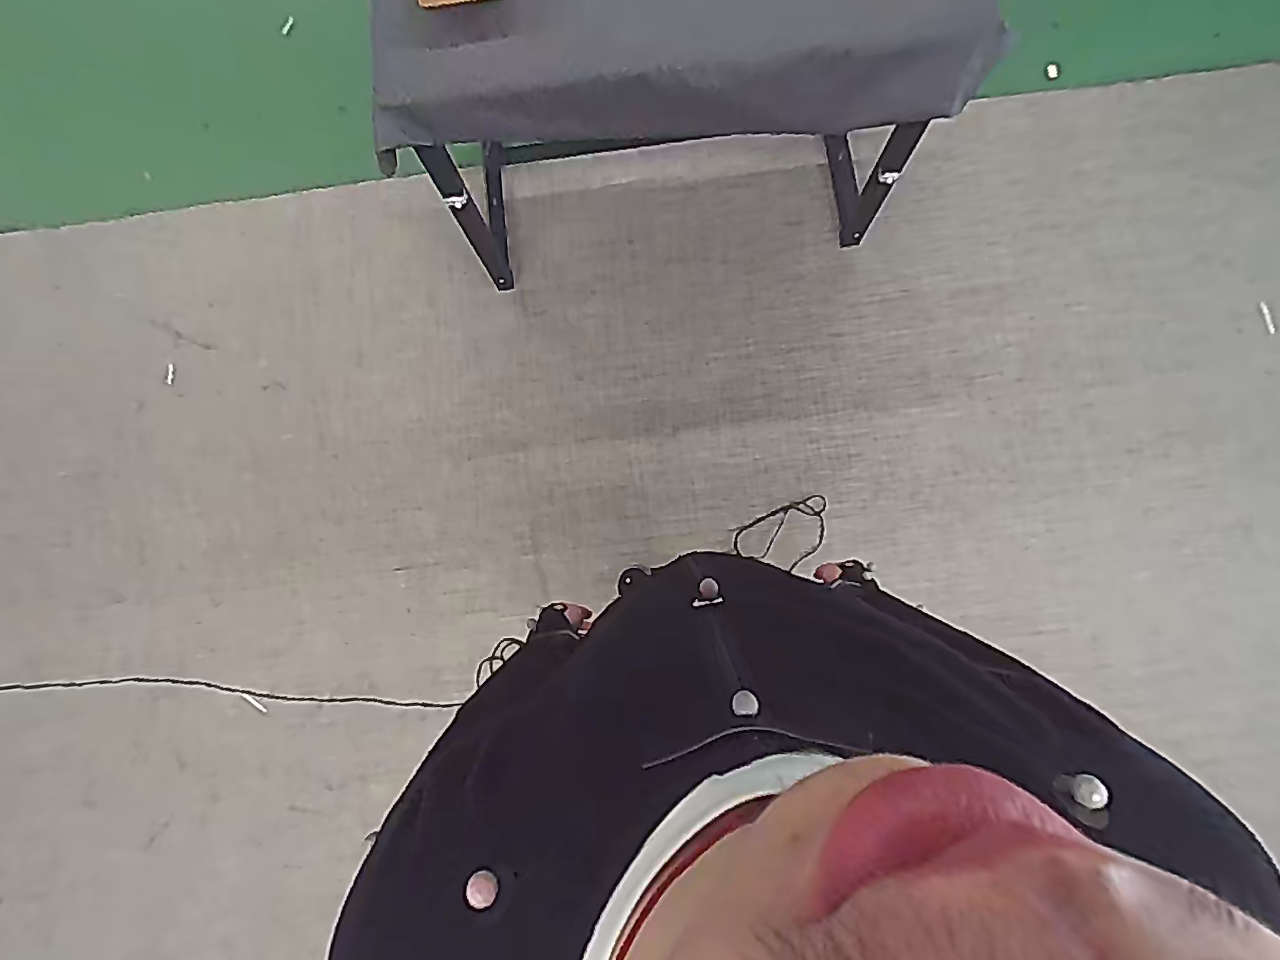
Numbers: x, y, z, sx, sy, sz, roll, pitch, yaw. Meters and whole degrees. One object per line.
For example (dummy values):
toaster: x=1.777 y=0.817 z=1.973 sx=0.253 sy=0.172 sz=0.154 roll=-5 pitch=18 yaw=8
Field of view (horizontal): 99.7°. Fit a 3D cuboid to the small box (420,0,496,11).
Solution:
small box: x=-0.360 y=-1.041 z=1.021 sx=0.179 sy=0.176 sz=0.168 roll=-7 pitch=80 yaw=0
